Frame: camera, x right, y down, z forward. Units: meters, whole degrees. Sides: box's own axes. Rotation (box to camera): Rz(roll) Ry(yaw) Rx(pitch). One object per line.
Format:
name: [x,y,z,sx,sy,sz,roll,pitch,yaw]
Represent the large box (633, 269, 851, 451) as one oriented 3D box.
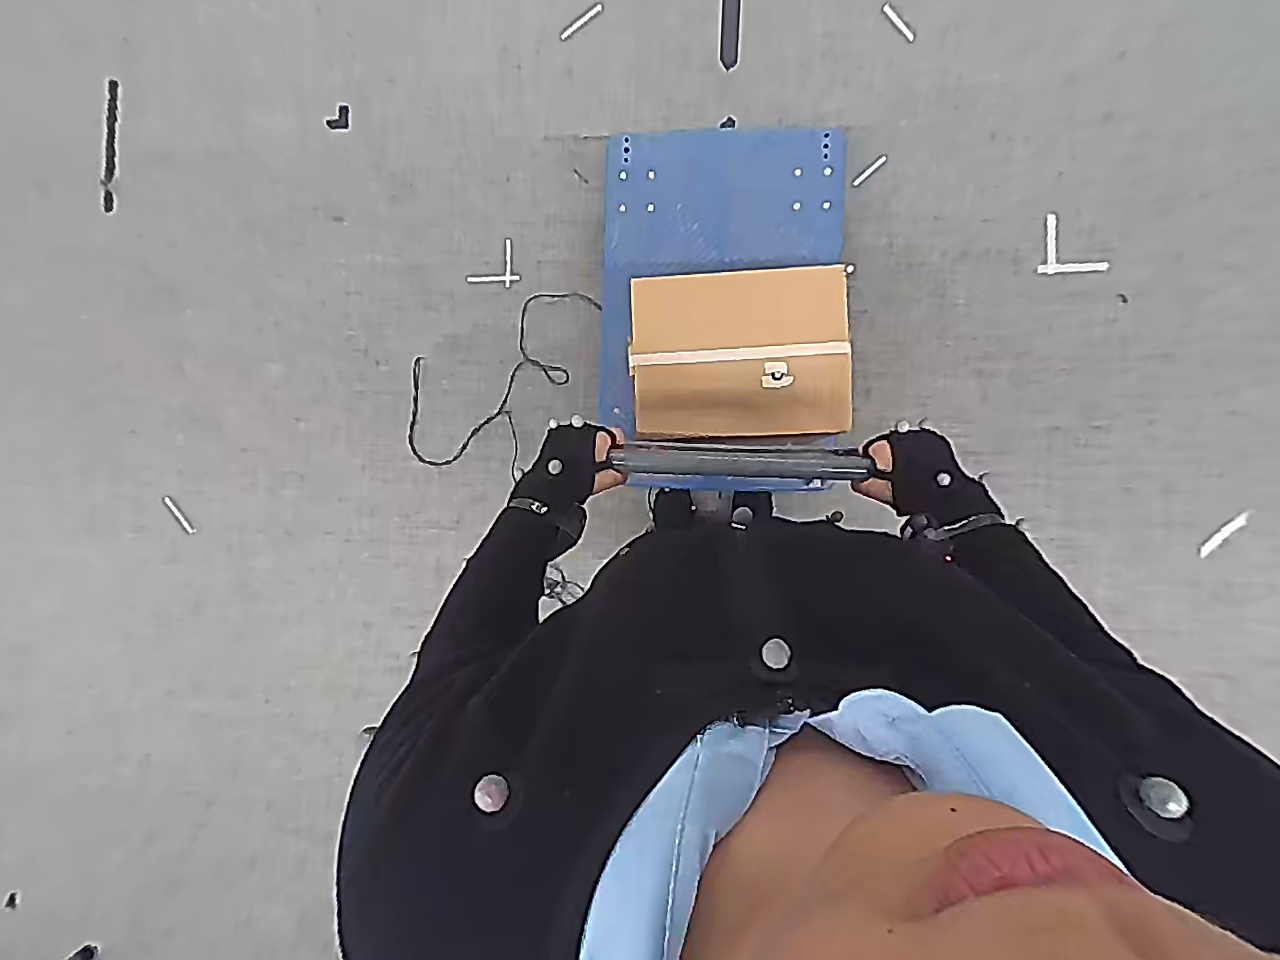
large box: [0.201,-0.235,1.178,0.408,0.320,0.320,-2,91,4]
